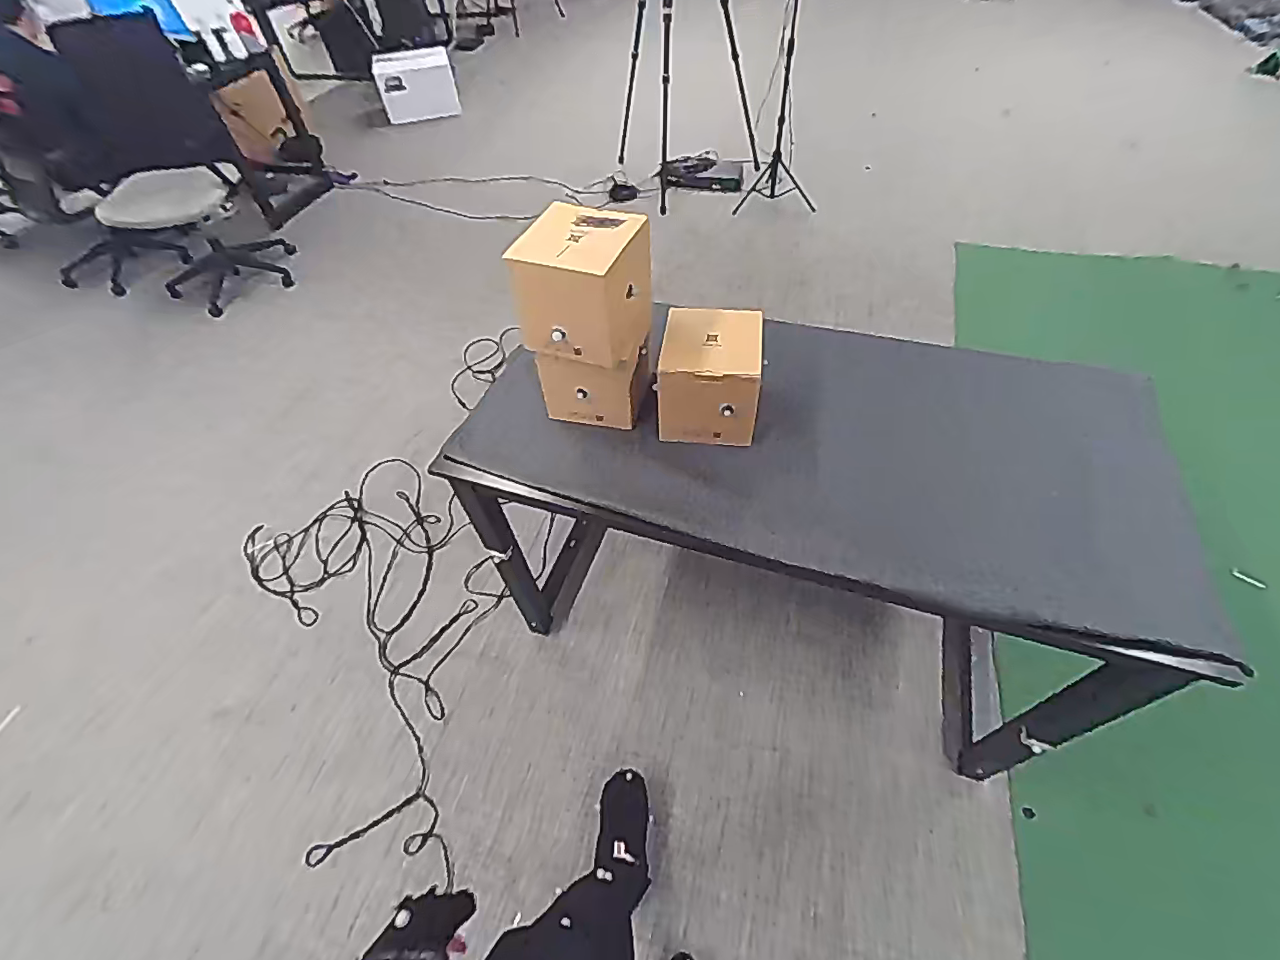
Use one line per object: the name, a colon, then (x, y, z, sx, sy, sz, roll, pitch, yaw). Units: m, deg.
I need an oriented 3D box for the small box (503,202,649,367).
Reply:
small box: (-0.091, -0.313, 0.868, 0.168, 0.176, 0.179, 16, 55, 15)

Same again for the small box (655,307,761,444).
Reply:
small box: (0.121, -0.183, 0.964, 0.168, 0.176, 0.179, 6, 52, 7)
